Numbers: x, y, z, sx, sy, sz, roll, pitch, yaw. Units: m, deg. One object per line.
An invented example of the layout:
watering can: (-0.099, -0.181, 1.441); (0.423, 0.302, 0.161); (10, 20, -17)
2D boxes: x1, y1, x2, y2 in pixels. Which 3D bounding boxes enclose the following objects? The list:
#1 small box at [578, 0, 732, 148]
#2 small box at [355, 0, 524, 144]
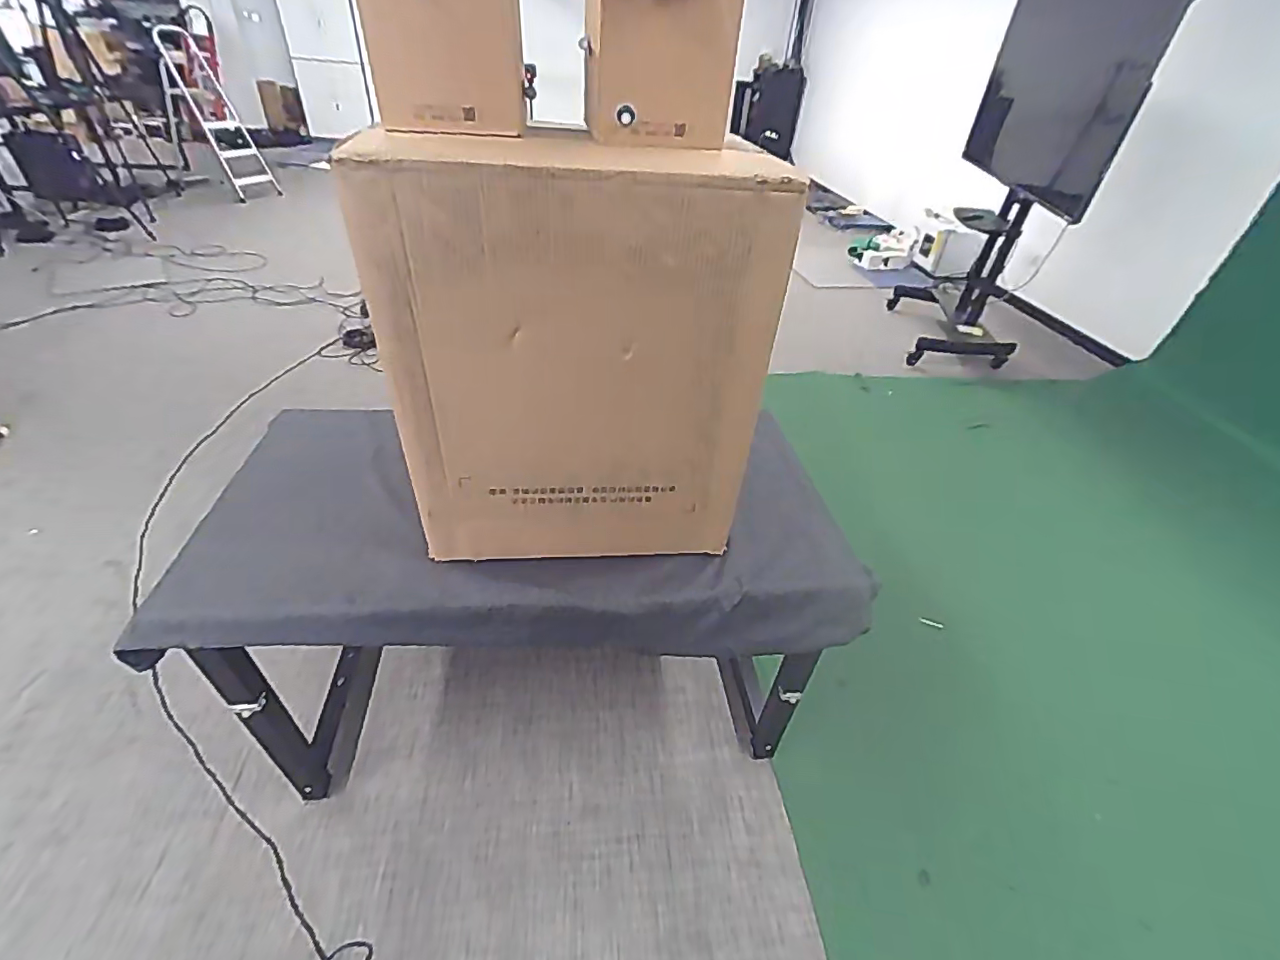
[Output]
small box: (0.011, -0.540, 0.699); (0.168, 0.176, 0.179); (-4, 40, -10)
small box: (-0.237, -0.530, 0.669); (0.168, 0.176, 0.179); (-3, 40, -7)
